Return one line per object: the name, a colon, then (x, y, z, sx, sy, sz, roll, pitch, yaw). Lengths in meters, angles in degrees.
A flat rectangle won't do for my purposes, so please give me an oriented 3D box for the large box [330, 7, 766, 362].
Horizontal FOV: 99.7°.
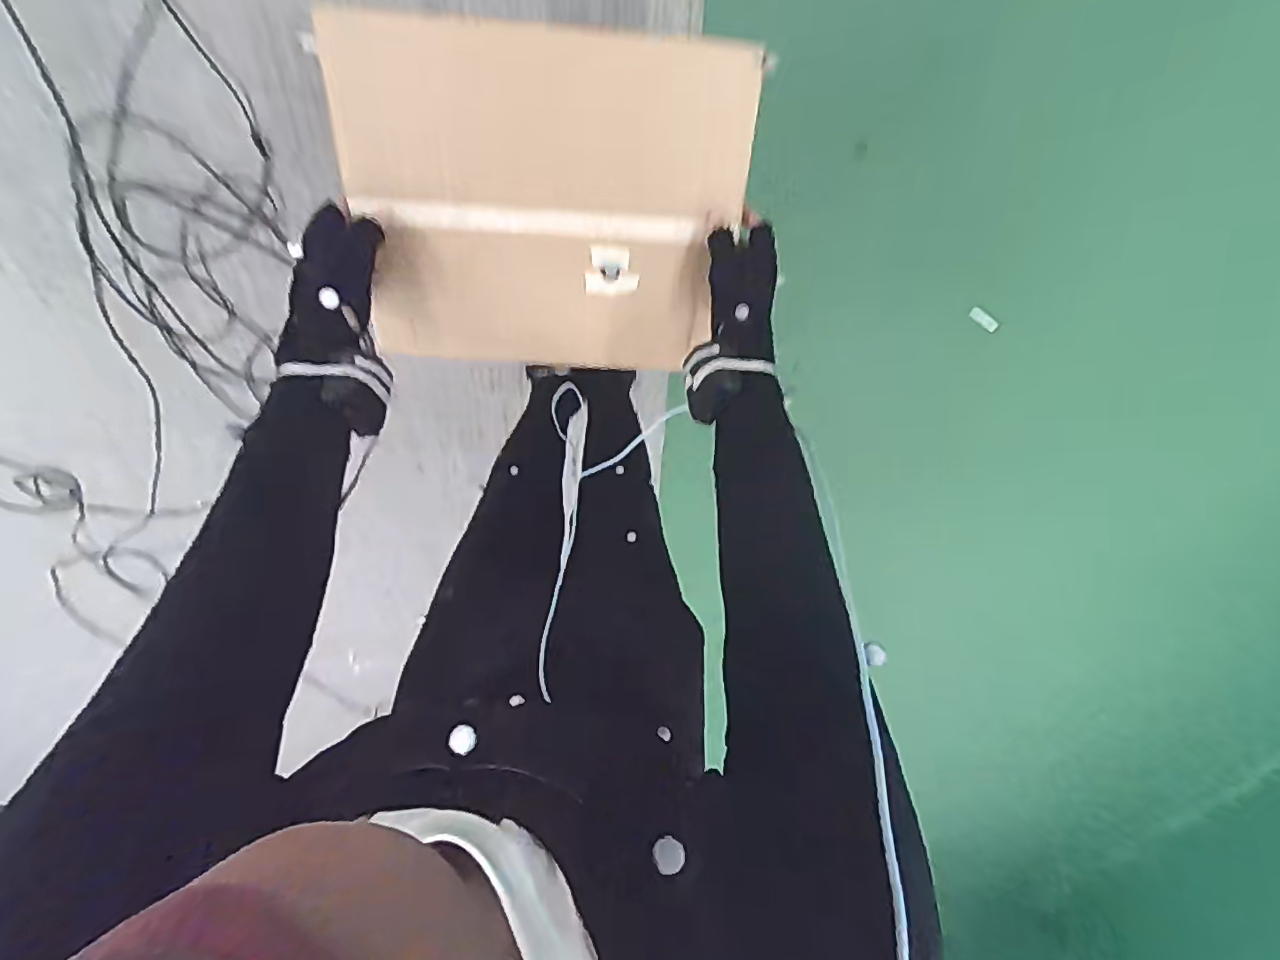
large box: (-0.096, -0.353, 0.693, 0.408, 0.320, 0.320, 2, 121, -4)
